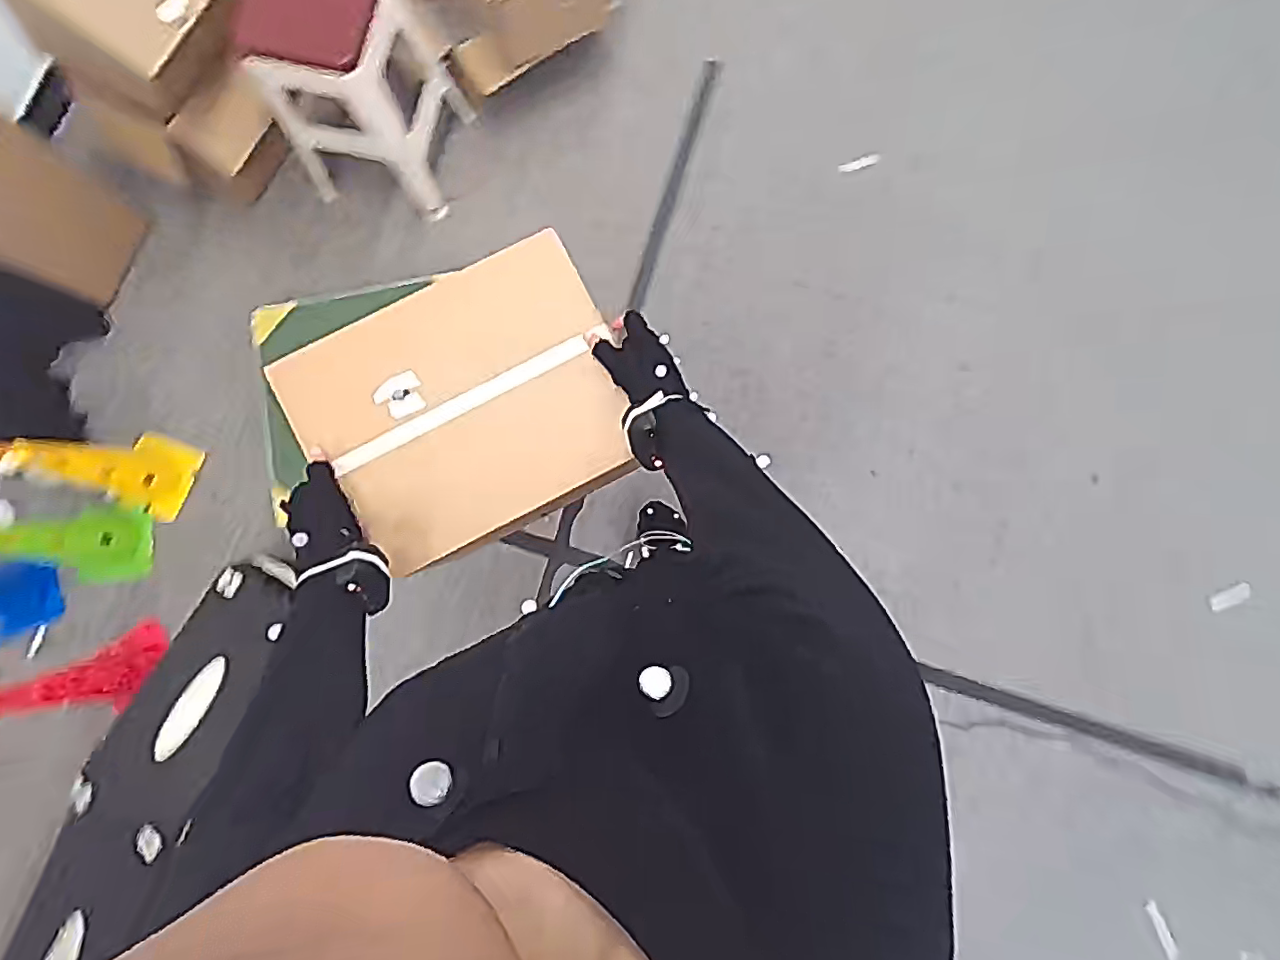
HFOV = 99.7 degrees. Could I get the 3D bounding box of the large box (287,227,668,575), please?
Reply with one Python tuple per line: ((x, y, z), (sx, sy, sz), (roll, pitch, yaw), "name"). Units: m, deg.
((-0.208, -0.101, 0.835), (0.408, 0.320, 0.320), (-26, 88, -2), "large box")
